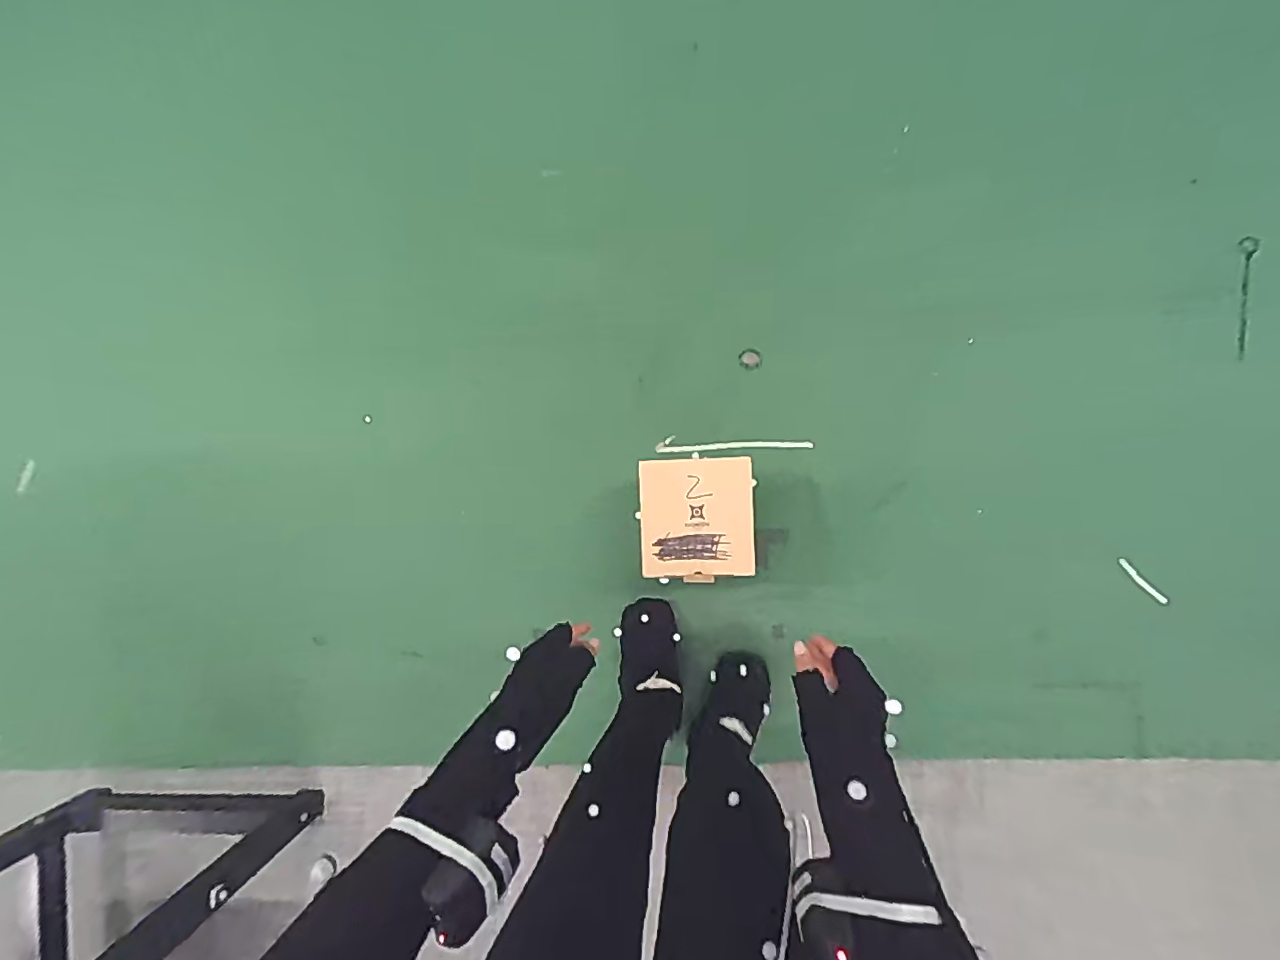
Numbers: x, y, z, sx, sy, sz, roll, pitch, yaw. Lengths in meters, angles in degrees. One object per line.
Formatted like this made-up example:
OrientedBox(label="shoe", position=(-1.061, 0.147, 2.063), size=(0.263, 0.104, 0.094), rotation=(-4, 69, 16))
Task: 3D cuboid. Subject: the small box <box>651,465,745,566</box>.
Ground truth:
OrientedBox(label="small box", position=(0.108, 0.065, 1.034), size=(0.168, 0.176, 0.179), rotation=(-2, 90, 5))
